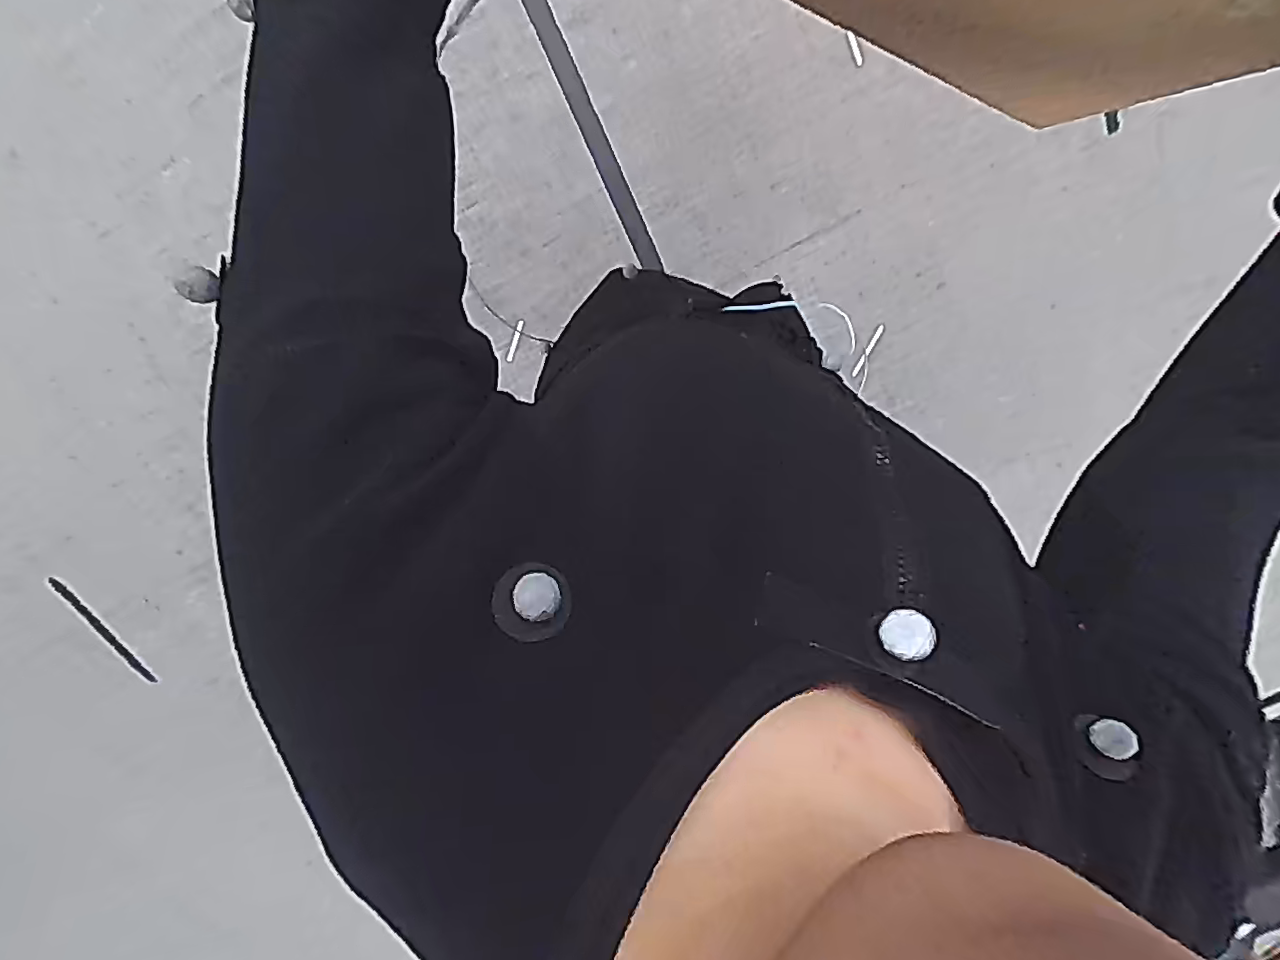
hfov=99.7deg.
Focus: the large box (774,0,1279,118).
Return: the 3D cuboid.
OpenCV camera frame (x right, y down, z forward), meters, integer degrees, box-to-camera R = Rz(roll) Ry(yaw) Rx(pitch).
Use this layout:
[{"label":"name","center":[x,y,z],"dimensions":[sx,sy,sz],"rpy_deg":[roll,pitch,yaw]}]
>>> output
[{"label":"large box","center":[0.253,-0.485,0.315],"dimensions":[0.408,0.320,0.320],"rpy_deg":[18,113,-10]}]
